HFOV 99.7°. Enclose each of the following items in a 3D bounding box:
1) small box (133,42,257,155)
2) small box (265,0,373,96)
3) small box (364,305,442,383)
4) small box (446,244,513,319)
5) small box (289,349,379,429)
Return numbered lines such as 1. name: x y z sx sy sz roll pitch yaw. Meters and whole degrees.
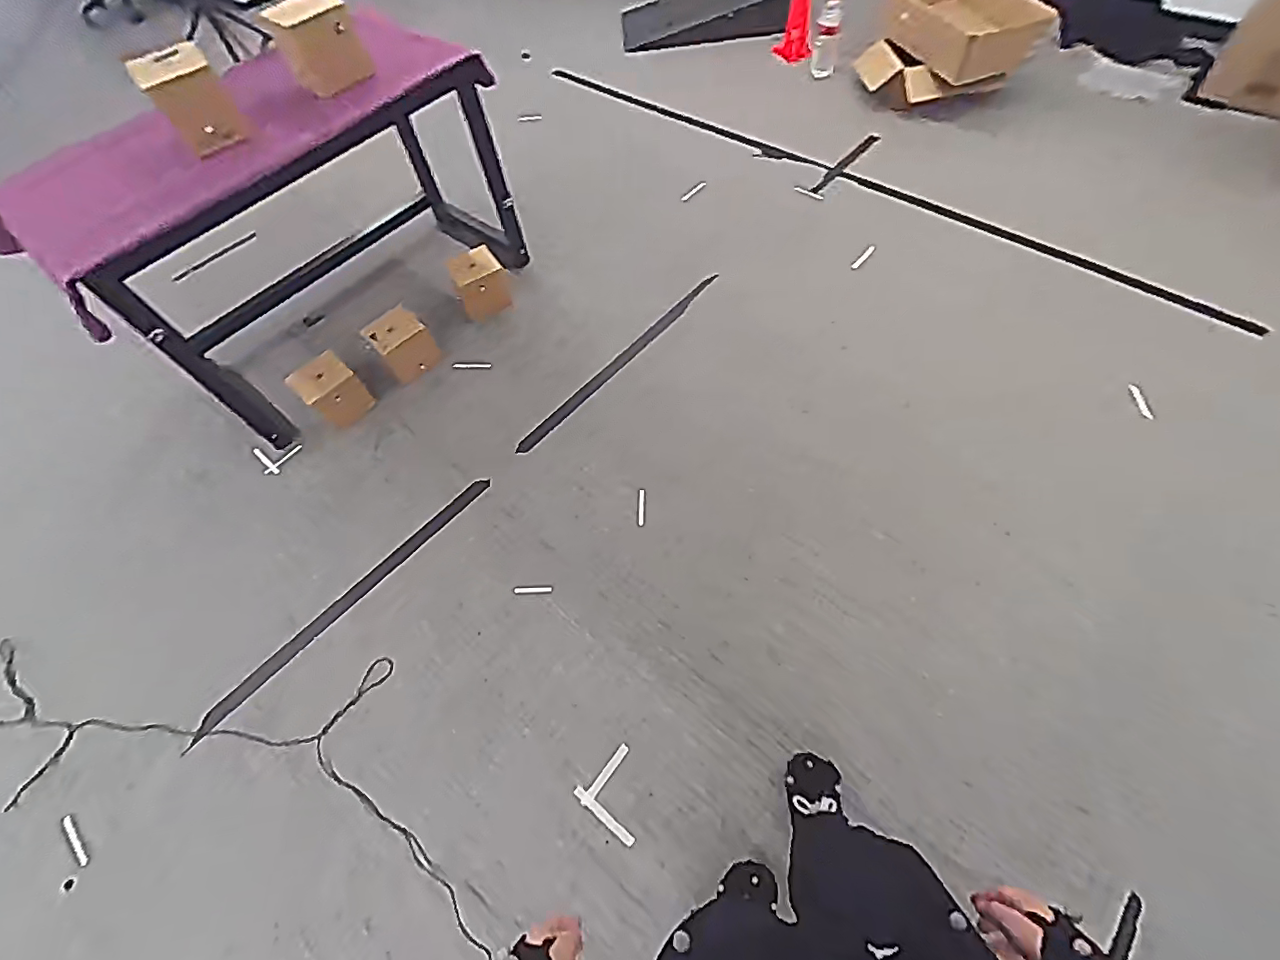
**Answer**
1. small box: -1.147 -0.985 1.401 0.168 0.176 0.179 -35 64 -14
2. small box: -0.880 -1.218 1.507 0.168 0.176 0.179 38 71 24
3. small box: -0.835 -0.483 1.930 0.179 0.176 0.168 -42 65 -17
4. small box: -0.603 -0.754 2.062 0.179 0.176 0.168 -30 63 -10
5. small box: -1.040 -0.305 1.849 0.168 0.176 0.179 38 70 22
